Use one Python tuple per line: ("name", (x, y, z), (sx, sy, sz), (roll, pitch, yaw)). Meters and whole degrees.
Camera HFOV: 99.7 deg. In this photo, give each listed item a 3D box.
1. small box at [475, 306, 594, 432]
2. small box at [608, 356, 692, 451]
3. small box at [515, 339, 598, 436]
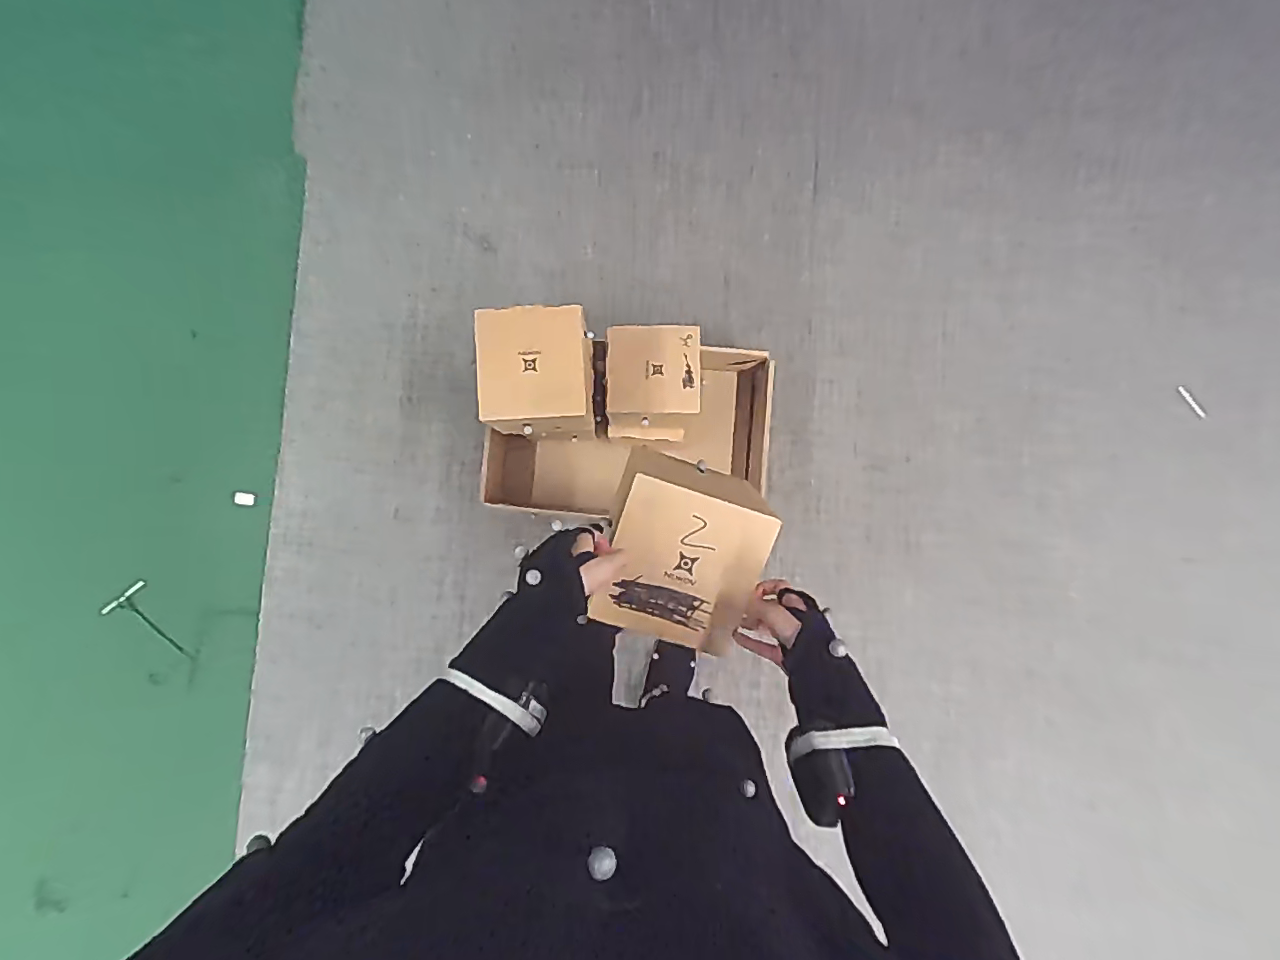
("small box", (-0.167, -0.175, 0.906), (0.168, 0.176, 0.179), (-3, 87, 0))
("small box", (0.024, -0.168, 1.230), (0.168, 0.176, 0.179), (5, 87, 3))
("small box", (-0.177, -0.180, 1.069), (0.179, 0.176, 0.168), (1, 88, 1))
